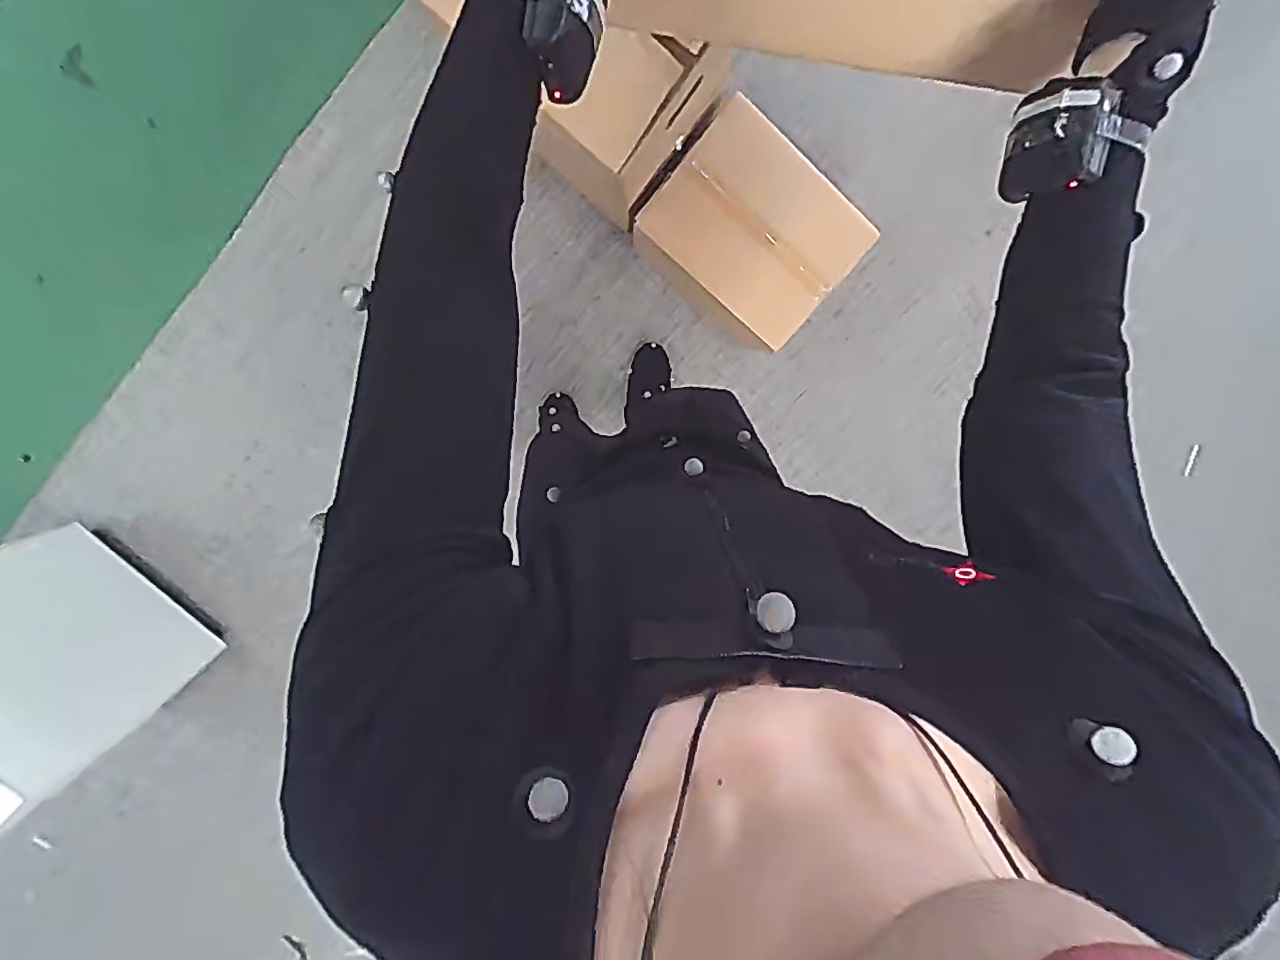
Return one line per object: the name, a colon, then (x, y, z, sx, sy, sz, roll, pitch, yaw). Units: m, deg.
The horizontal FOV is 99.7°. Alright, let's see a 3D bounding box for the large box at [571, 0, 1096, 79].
large box: (0.175, -0.563, 0.411, 0.408, 0.320, 0.320, 12, 143, 4)
